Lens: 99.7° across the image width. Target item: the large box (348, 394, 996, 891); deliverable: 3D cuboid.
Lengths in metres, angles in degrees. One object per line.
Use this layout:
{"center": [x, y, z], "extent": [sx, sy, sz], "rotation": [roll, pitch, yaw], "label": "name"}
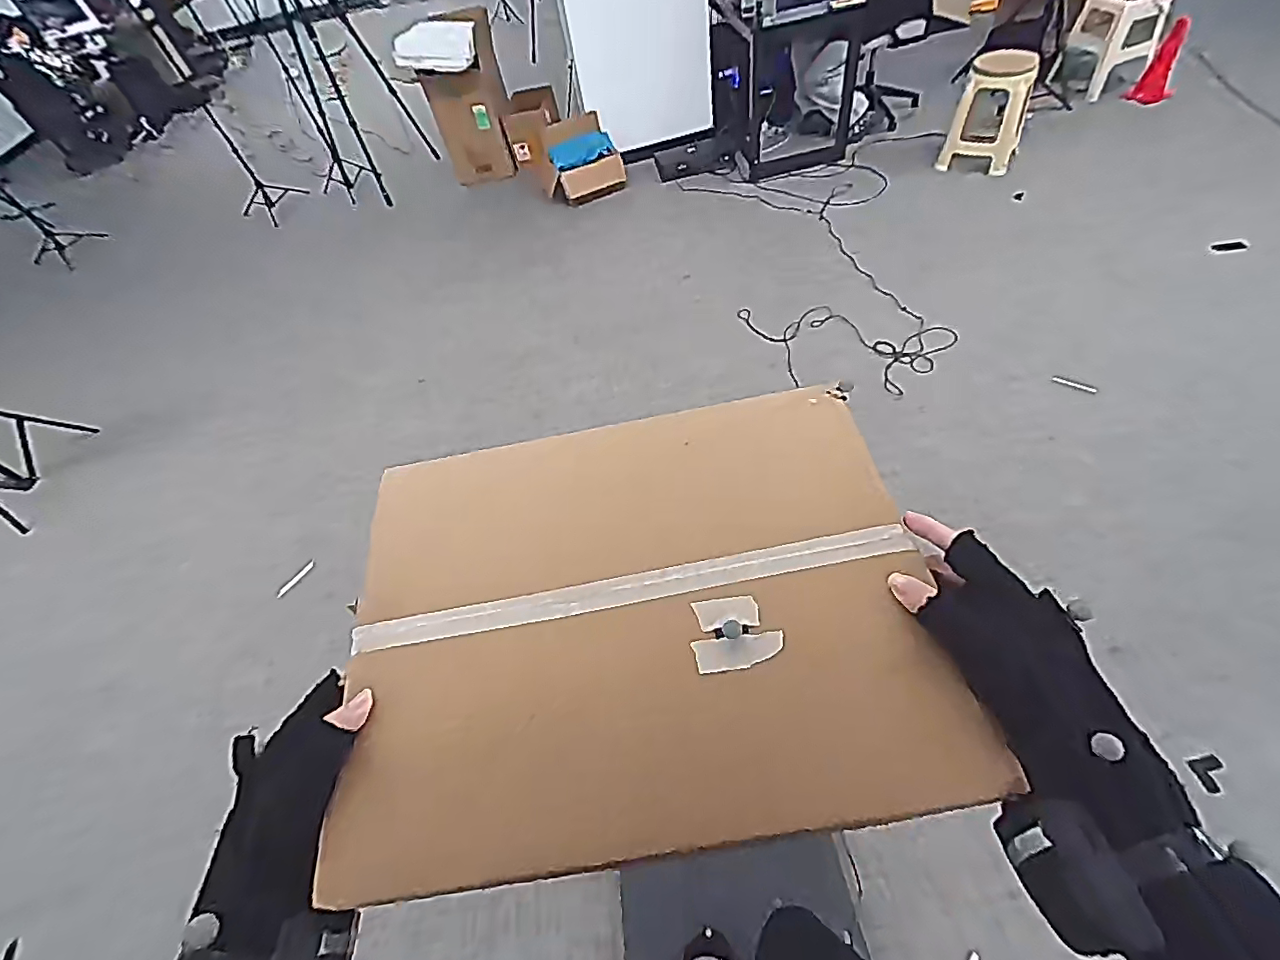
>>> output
{"center": [0.014, 0.167, 0.526], "extent": [0.408, 0.320, 0.320], "rotation": [-11, 56, 2], "label": "large box"}
